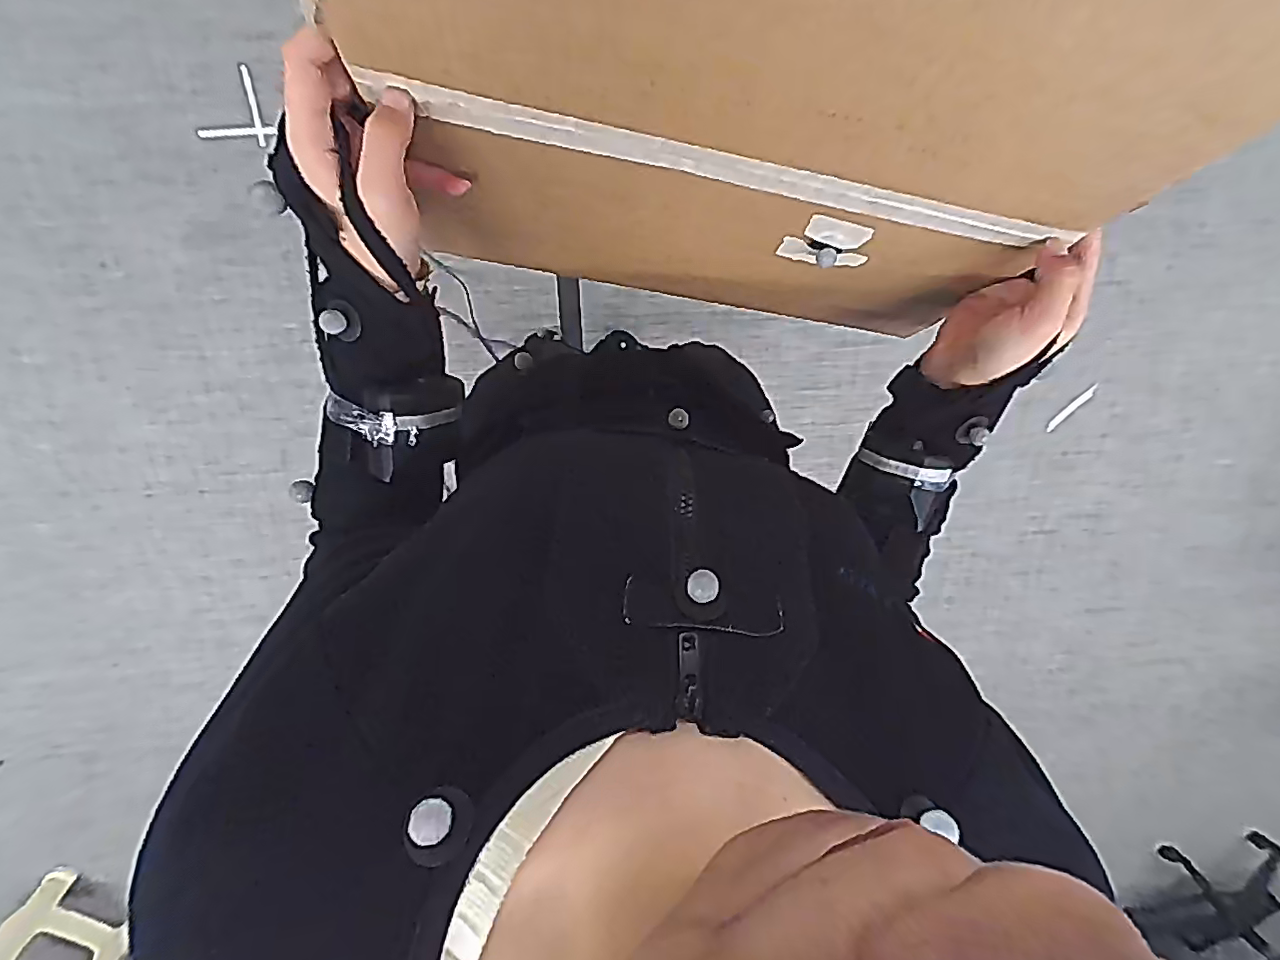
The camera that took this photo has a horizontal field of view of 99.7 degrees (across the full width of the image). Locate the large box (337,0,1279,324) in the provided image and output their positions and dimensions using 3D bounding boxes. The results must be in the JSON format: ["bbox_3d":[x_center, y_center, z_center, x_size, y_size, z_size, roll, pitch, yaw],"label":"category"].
[{"bbox_3d":[0.071,-0.322,0.316,0.408,0.320,0.320,6,83,-10],"label":"large box"}]
